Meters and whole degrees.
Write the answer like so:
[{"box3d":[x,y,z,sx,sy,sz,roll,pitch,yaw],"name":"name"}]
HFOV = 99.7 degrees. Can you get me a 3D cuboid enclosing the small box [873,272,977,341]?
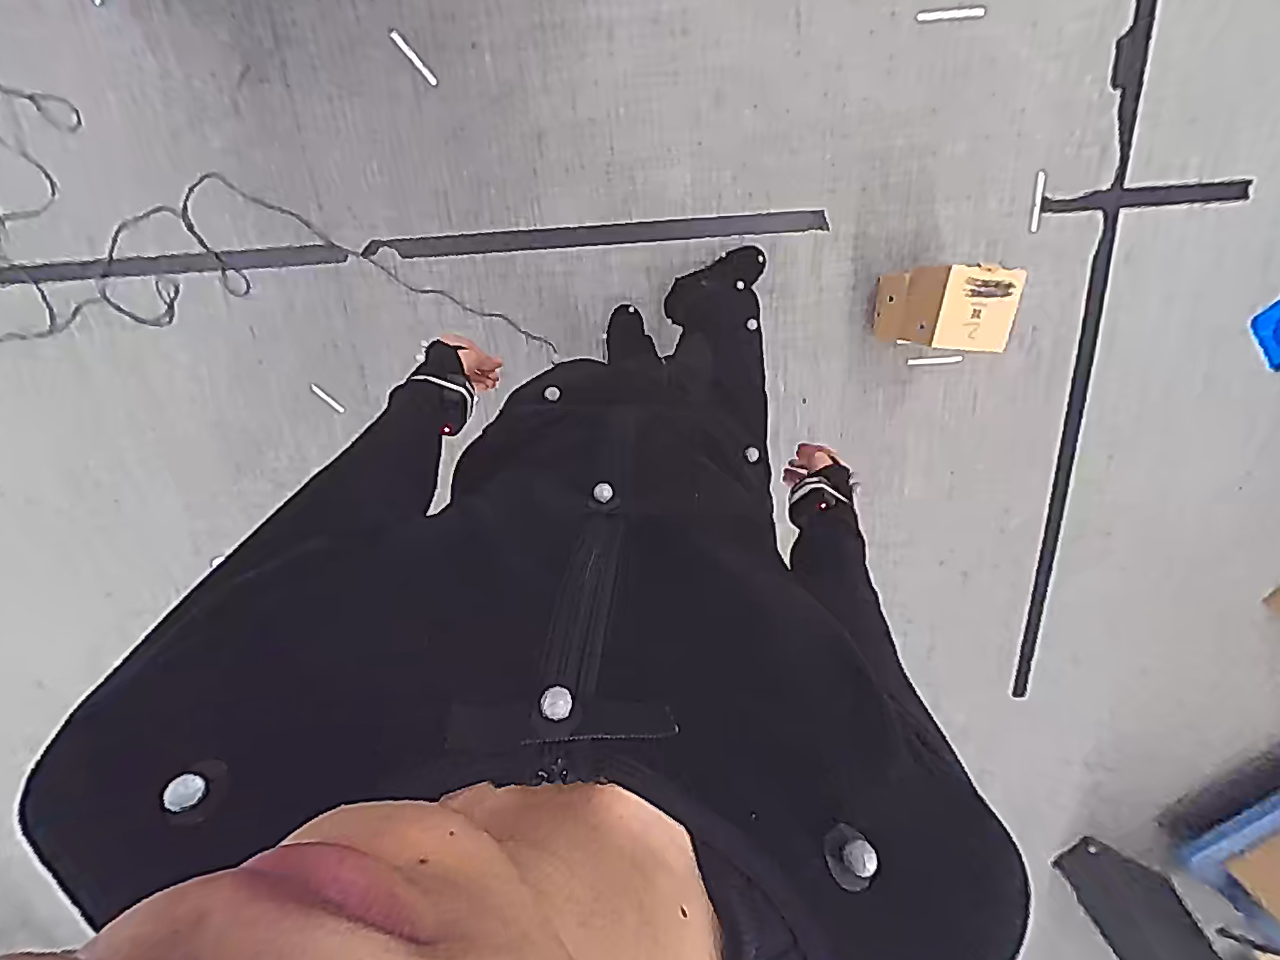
[{"box3d":[0.727,-0.451,1.404,0.179,0.176,0.168,-1,110,0],"name":"small box"}]
